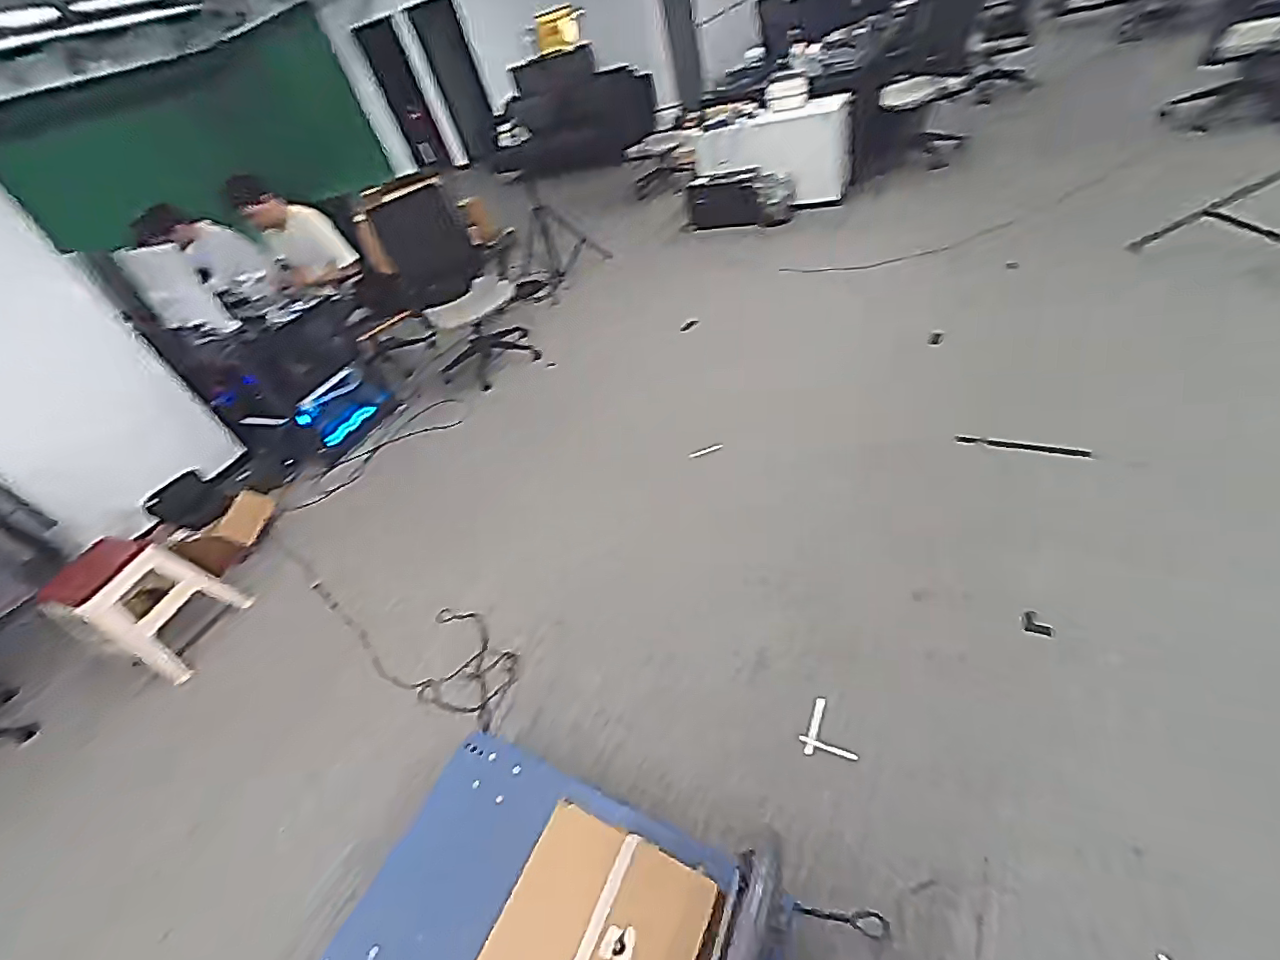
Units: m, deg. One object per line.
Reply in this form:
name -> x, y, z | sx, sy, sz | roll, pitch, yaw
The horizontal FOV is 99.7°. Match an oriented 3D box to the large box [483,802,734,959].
large box -> -0.062, 0.855, 0.907 | 0.320, 0.320, 0.408 | 10, 49, 27
